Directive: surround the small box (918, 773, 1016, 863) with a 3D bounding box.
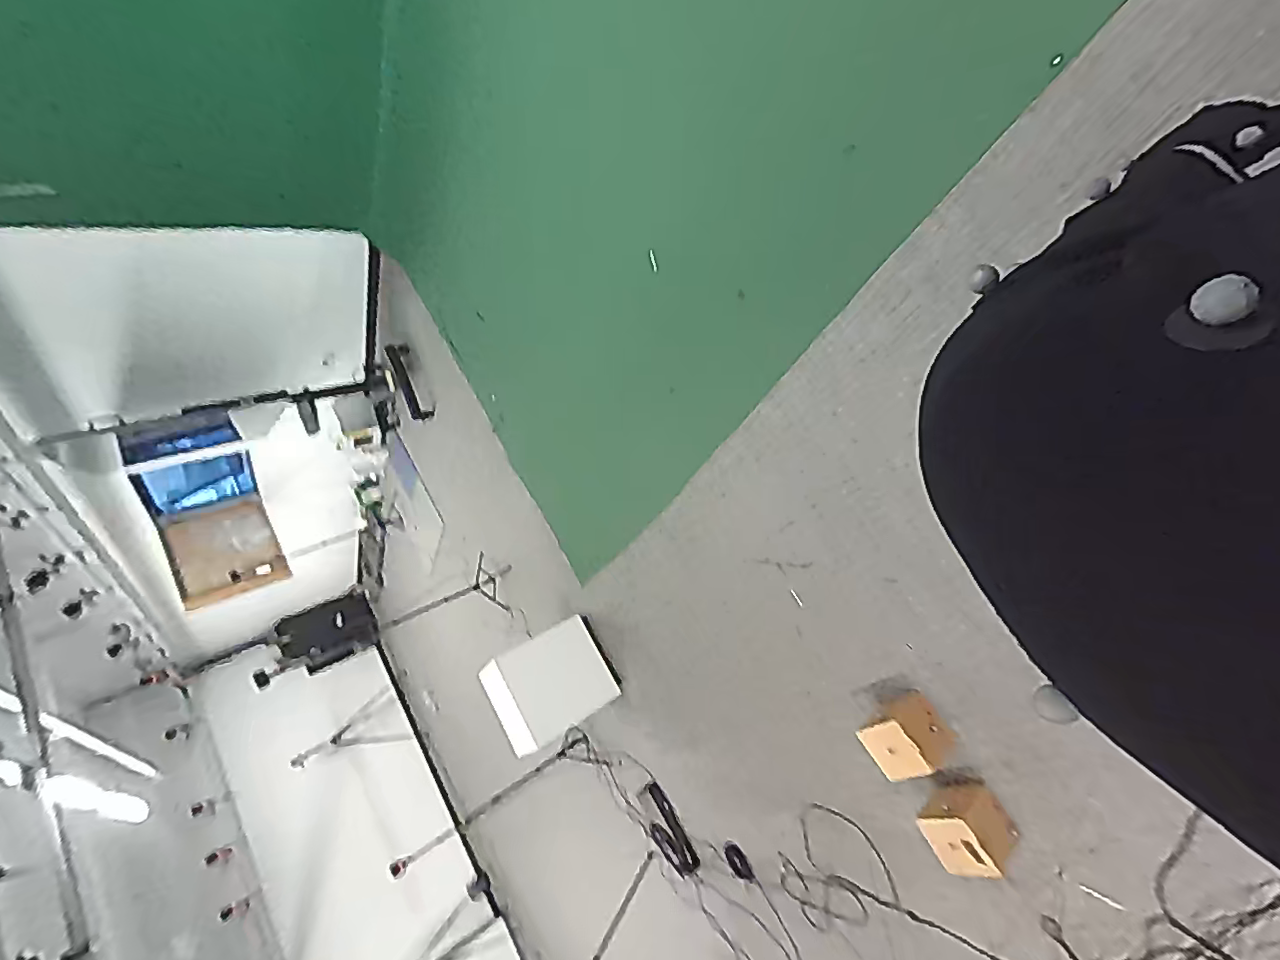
[{"bbox_3d":[0.984,1.002,1.616,0.168,0.176,0.179,58,142,14],"label":"small box"}]

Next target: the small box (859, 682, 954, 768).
[{"bbox_3d":[0.834,0.764,1.690,0.168,0.176,0.179,55,140,17],"label":"small box"}]
